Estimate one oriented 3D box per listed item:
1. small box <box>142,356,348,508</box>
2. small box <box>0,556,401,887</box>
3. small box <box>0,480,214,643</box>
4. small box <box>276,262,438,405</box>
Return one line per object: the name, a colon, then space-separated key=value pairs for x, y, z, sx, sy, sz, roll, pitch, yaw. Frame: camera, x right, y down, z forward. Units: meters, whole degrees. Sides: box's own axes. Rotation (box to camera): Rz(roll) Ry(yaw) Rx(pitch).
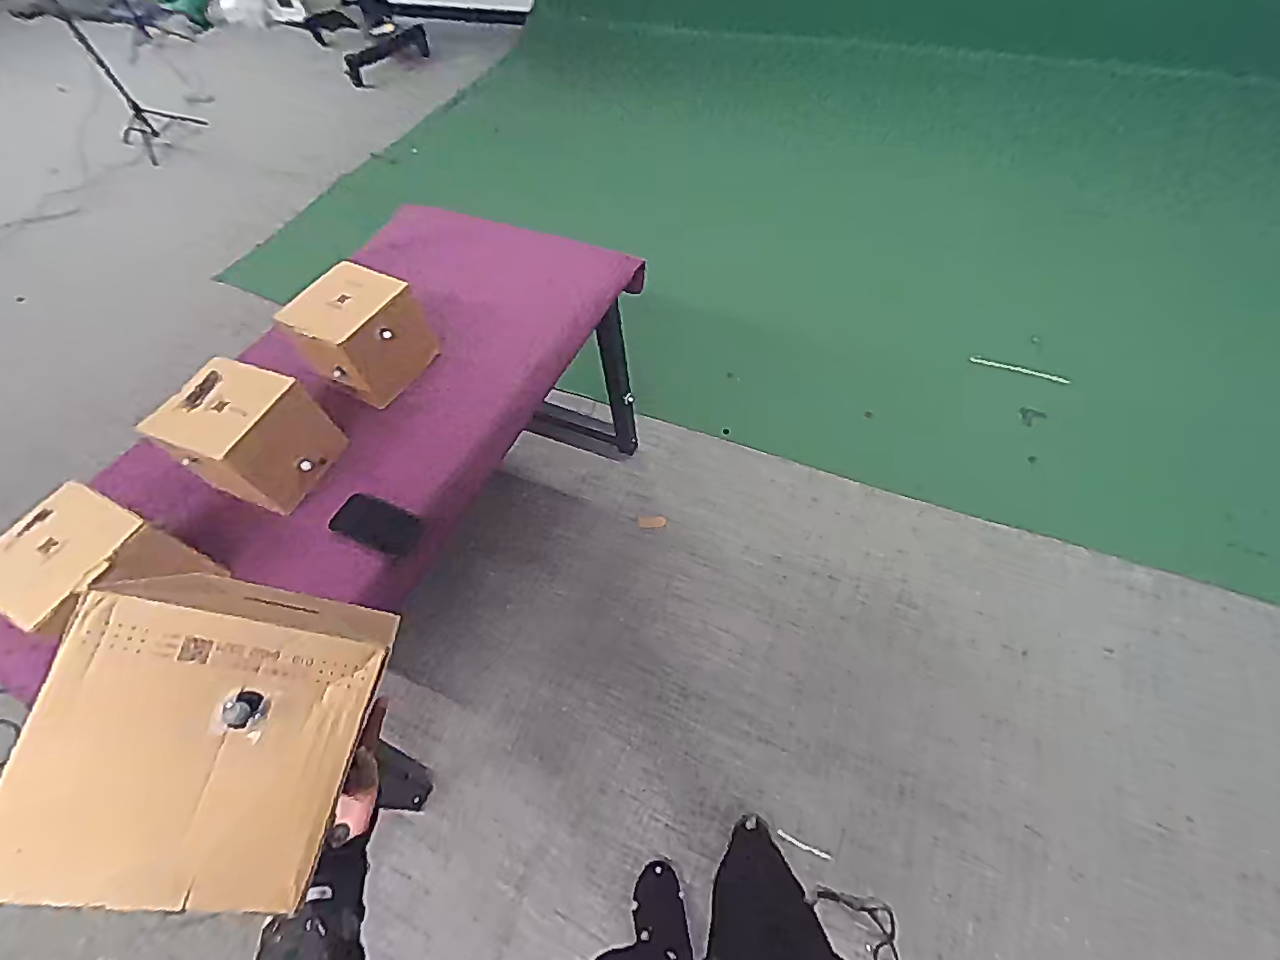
small box: x=-0.640 y=-0.074 z=0.899 sx=0.179 sy=0.176 sz=0.168 roll=17 pitch=61 yaw=15
small box: x=-0.291 y=0.157 z=0.404 sx=0.168 sy=0.179 sz=0.176 roll=19 pitch=76 yaw=-18
small box: x=-0.757 y=0.133 z=0.776 sx=0.179 sy=0.176 sz=0.168 roll=22 pitch=61 yaw=17
small box: x=-0.516 y=-0.271 z=1.016 sx=0.168 sy=0.176 sz=0.179 roll=24 pitch=62 yaw=18
